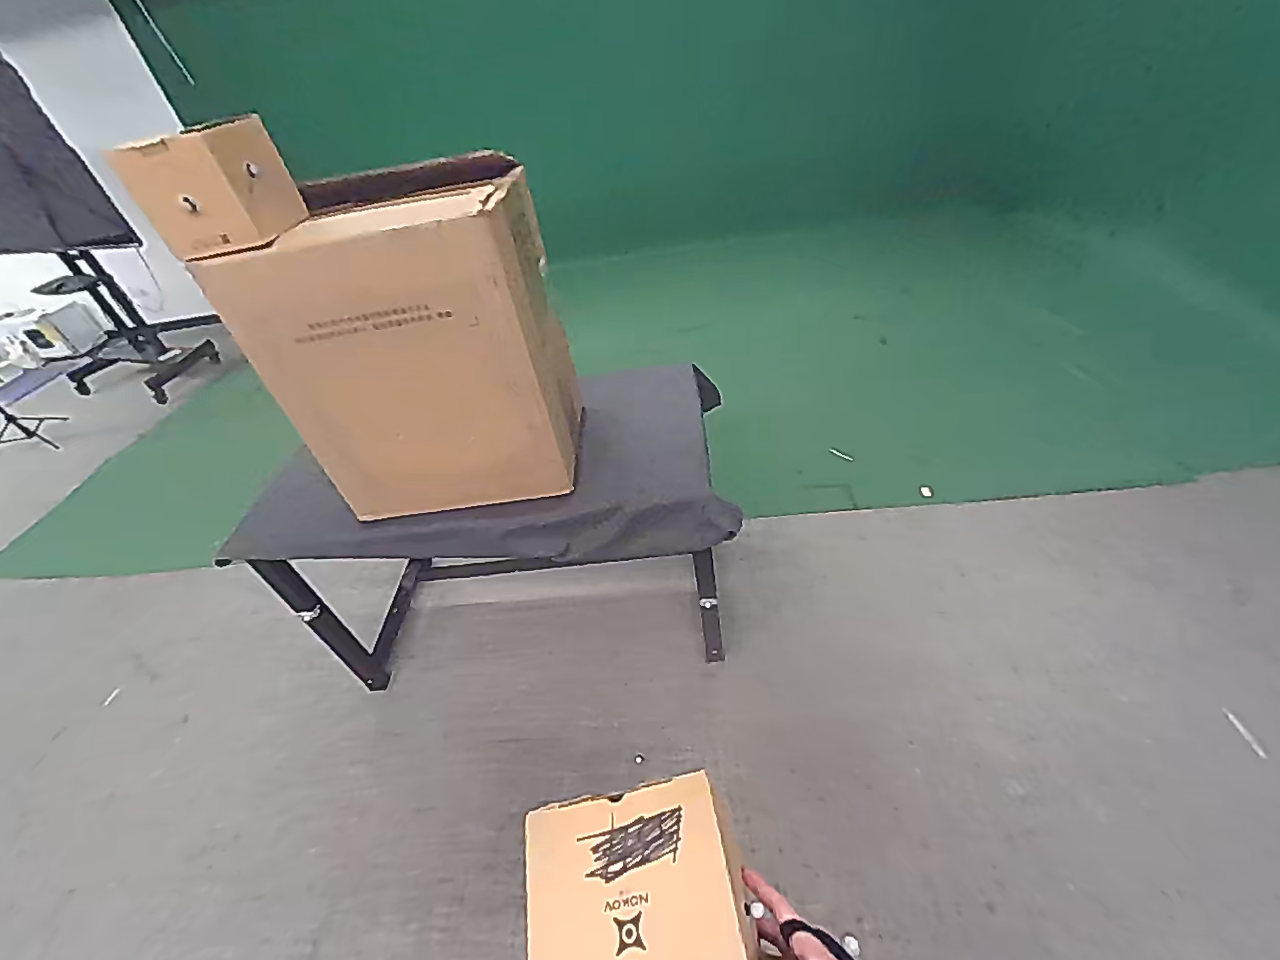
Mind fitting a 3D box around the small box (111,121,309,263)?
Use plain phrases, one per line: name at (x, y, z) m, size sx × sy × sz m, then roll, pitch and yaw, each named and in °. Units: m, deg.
small box at (-0.716, -0.488, 0.930) m, size 0.168 × 0.176 × 0.179 m, roll -9°, pitch 41°, yaw 6°
